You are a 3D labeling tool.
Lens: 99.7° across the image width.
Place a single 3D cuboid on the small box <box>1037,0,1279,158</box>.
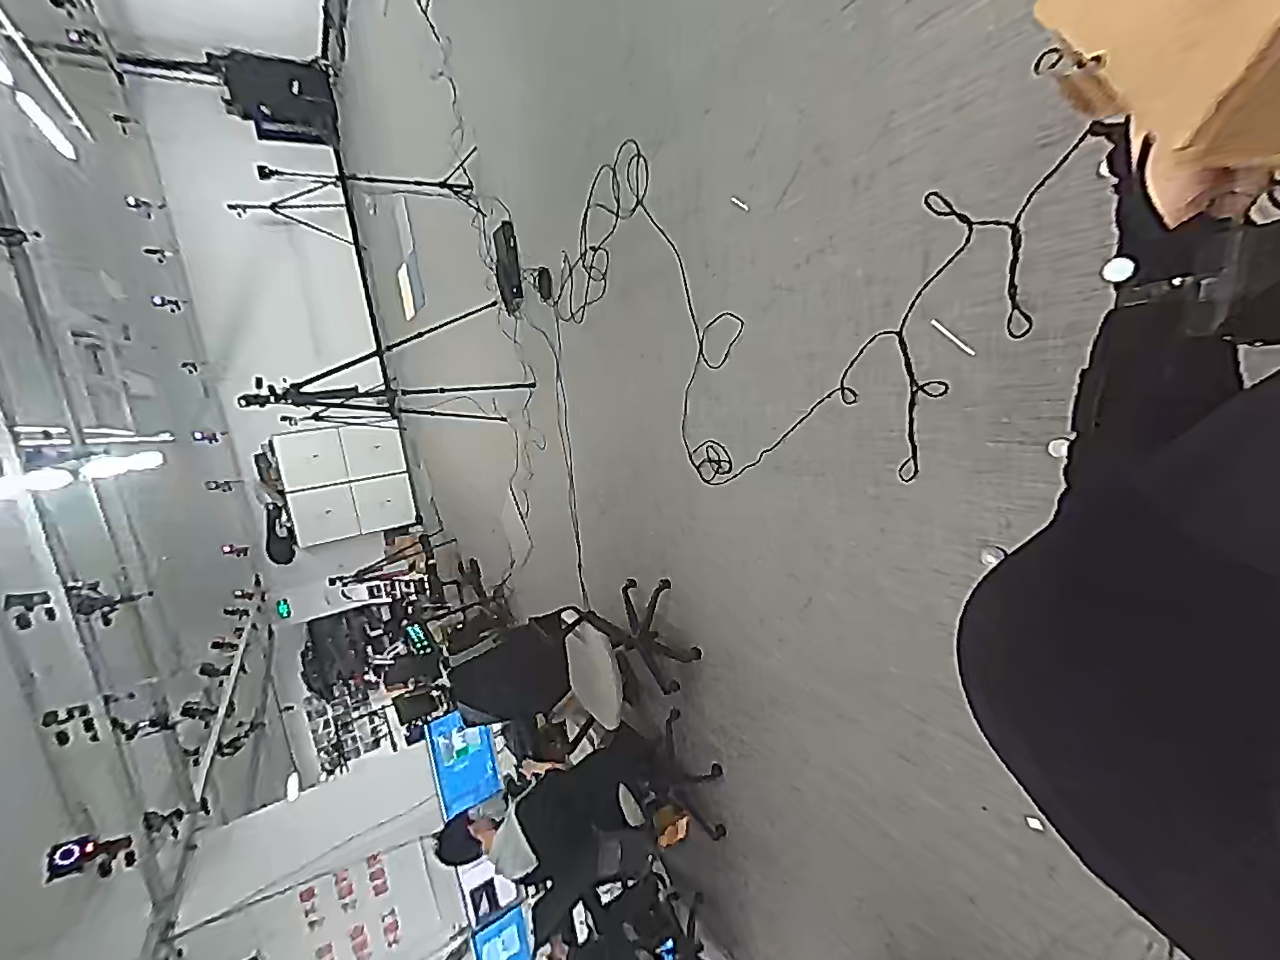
[{"bbox_3d":[0.306,-0.246,0.198,0.179,0.176,0.168,90,-177,-58],"label":"small box"}]
